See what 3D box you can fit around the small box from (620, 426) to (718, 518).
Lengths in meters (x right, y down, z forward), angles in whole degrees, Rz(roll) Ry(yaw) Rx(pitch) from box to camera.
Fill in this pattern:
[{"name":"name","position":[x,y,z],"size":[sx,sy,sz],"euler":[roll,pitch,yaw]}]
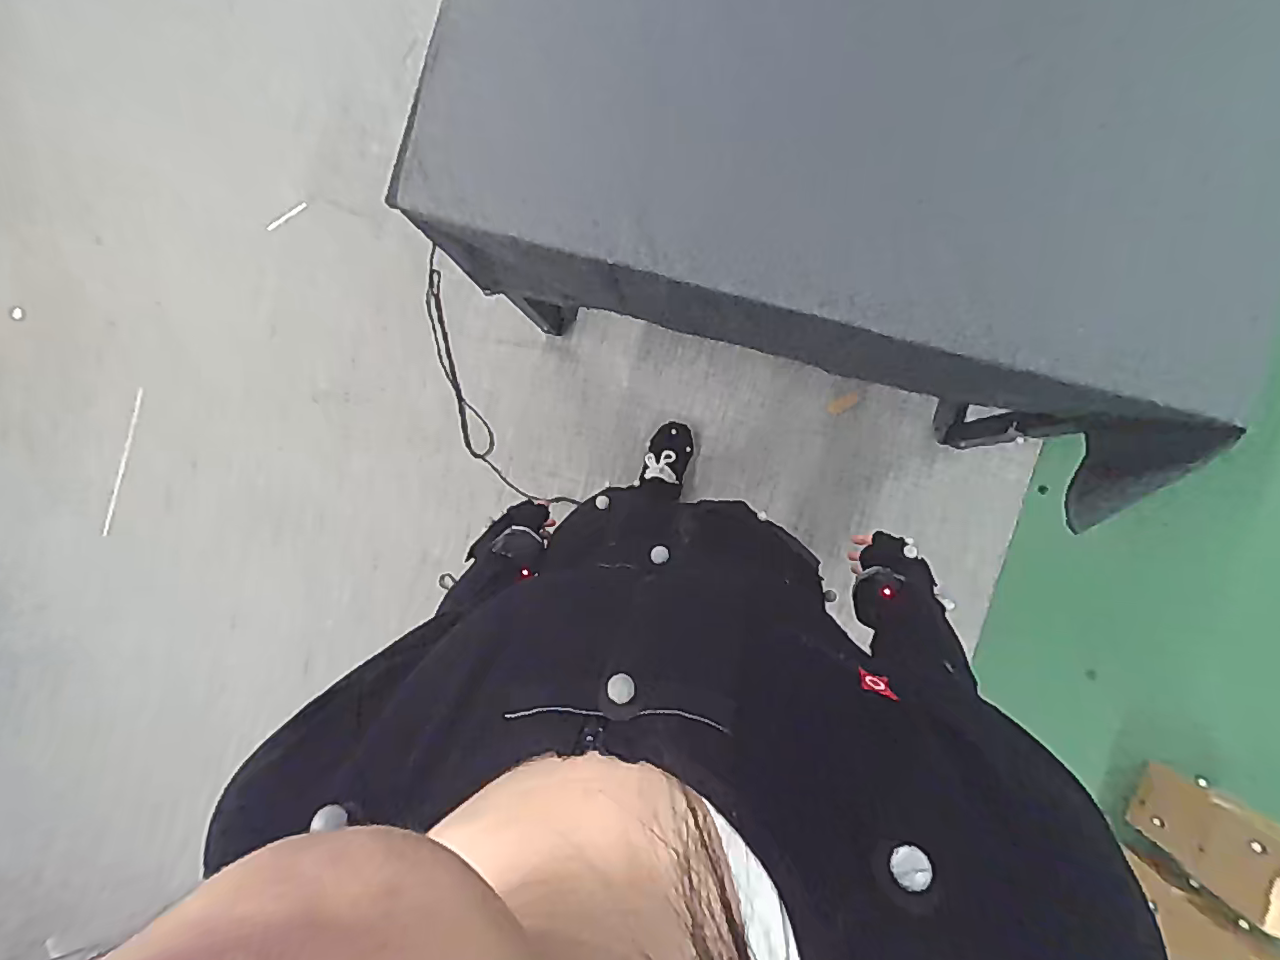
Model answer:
[{"name":"small box","position":[0.071,-0.020,1.425],"size":[0.168,0.176,0.179],"euler":[-41,65,20]}]

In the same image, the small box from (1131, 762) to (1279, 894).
[{"name":"small box","position":[1.317,0.795,1.261],"size":[0.179,0.176,0.168],"euler":[22,92,6]}]
